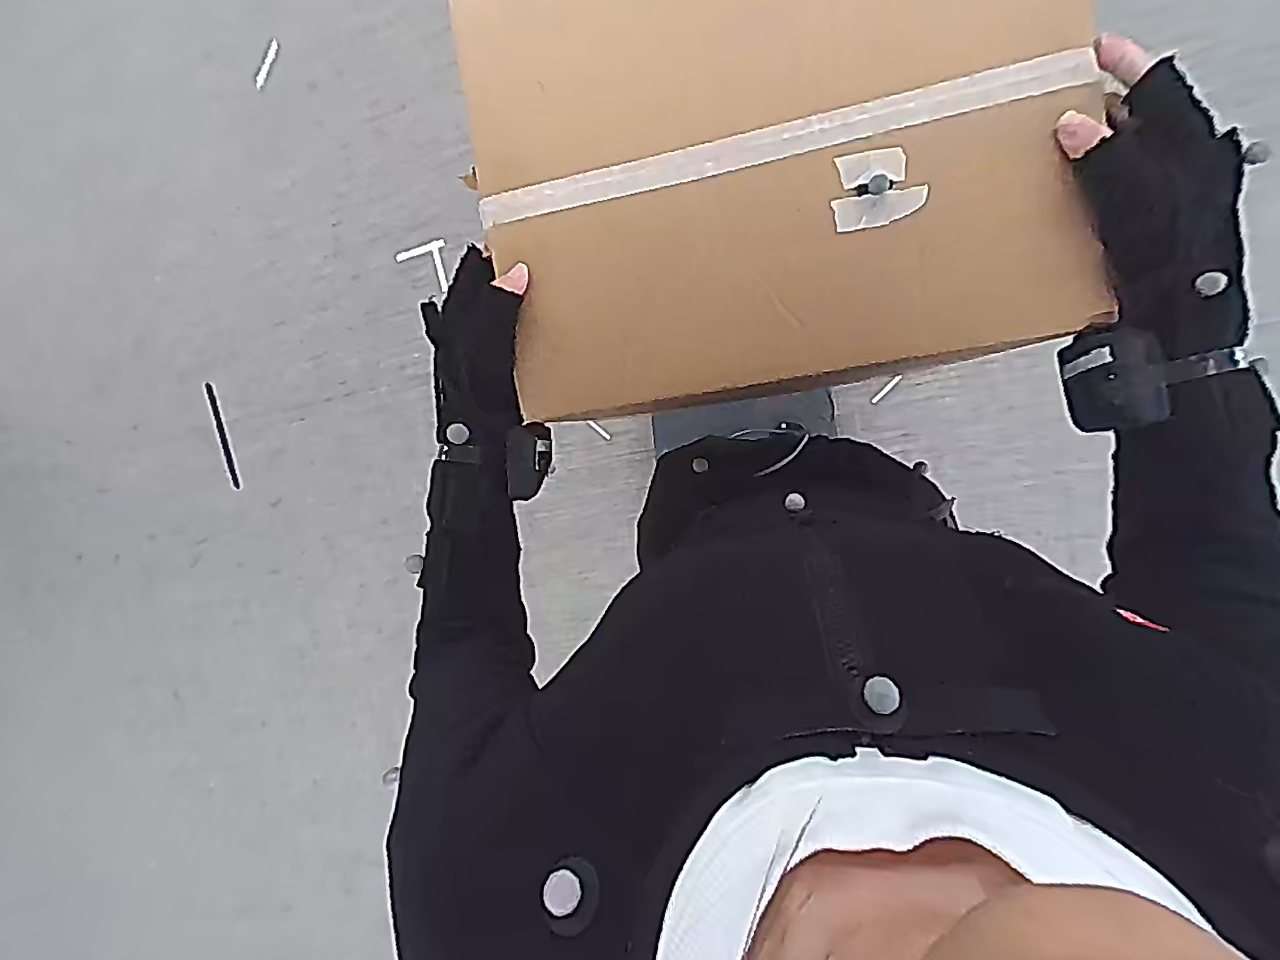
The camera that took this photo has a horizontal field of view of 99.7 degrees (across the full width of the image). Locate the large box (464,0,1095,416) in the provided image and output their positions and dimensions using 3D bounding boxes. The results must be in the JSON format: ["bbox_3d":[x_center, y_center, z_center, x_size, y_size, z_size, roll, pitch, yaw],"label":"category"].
[{"bbox_3d":[0.106,-0.249,0.526,0.408,0.320,0.320,-9,96,9],"label":"large box"}]
